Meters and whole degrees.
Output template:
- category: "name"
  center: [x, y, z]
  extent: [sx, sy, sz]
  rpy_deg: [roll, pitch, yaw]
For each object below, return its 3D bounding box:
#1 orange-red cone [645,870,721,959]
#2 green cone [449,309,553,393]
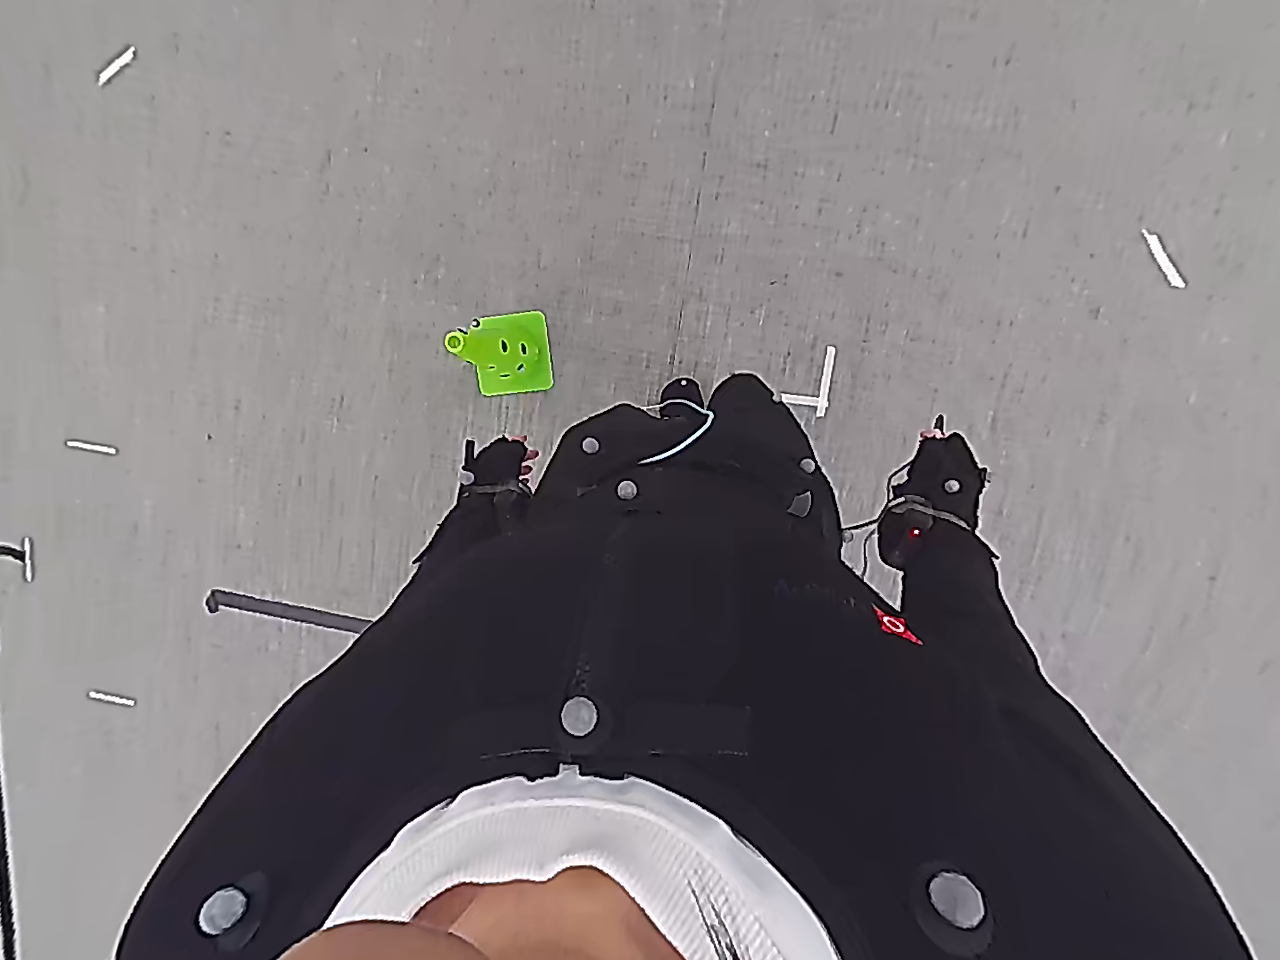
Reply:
- category: "orange-red cone"
  center: [0.110, 1.307, 1.463]
  extent: [0.199, 0.360, 0.198]
  rpy_deg: [17, 100, 3]
- category: "green cone"
  center: [-0.346, -0.302, 1.231]
  extent: [0.202, 0.368, 0.200]
  rpy_deg: [-6, 100, 5]
